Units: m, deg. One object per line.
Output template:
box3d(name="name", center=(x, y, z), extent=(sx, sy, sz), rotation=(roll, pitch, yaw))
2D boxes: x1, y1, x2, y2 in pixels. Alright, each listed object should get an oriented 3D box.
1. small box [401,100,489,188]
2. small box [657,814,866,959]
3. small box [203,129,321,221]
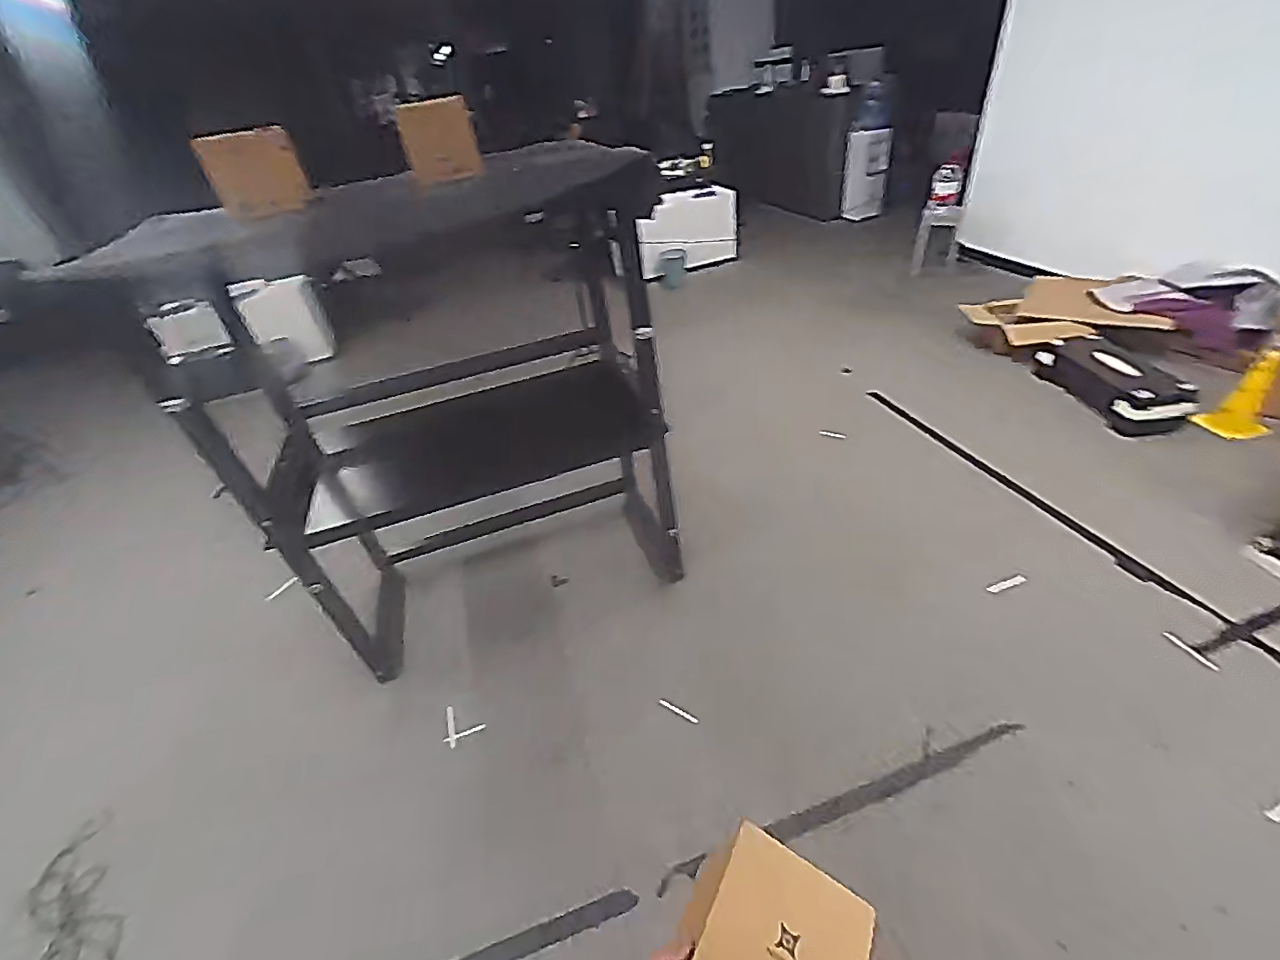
box3d(name="small box", center=(-0.500, -0.872, 1.404), extent=(0.168, 0.176, 0.179), rotation=(-16, 38, -7))
box3d(name="small box", center=(0.125, 0.531, 0.607), extent=(0.168, 0.176, 0.179), rotation=(27, 41, 14))
box3d(name="small box", center=(-0.924, -0.755, 1.343), extent=(0.168, 0.176, 0.179), rotation=(-16, 38, -10))
